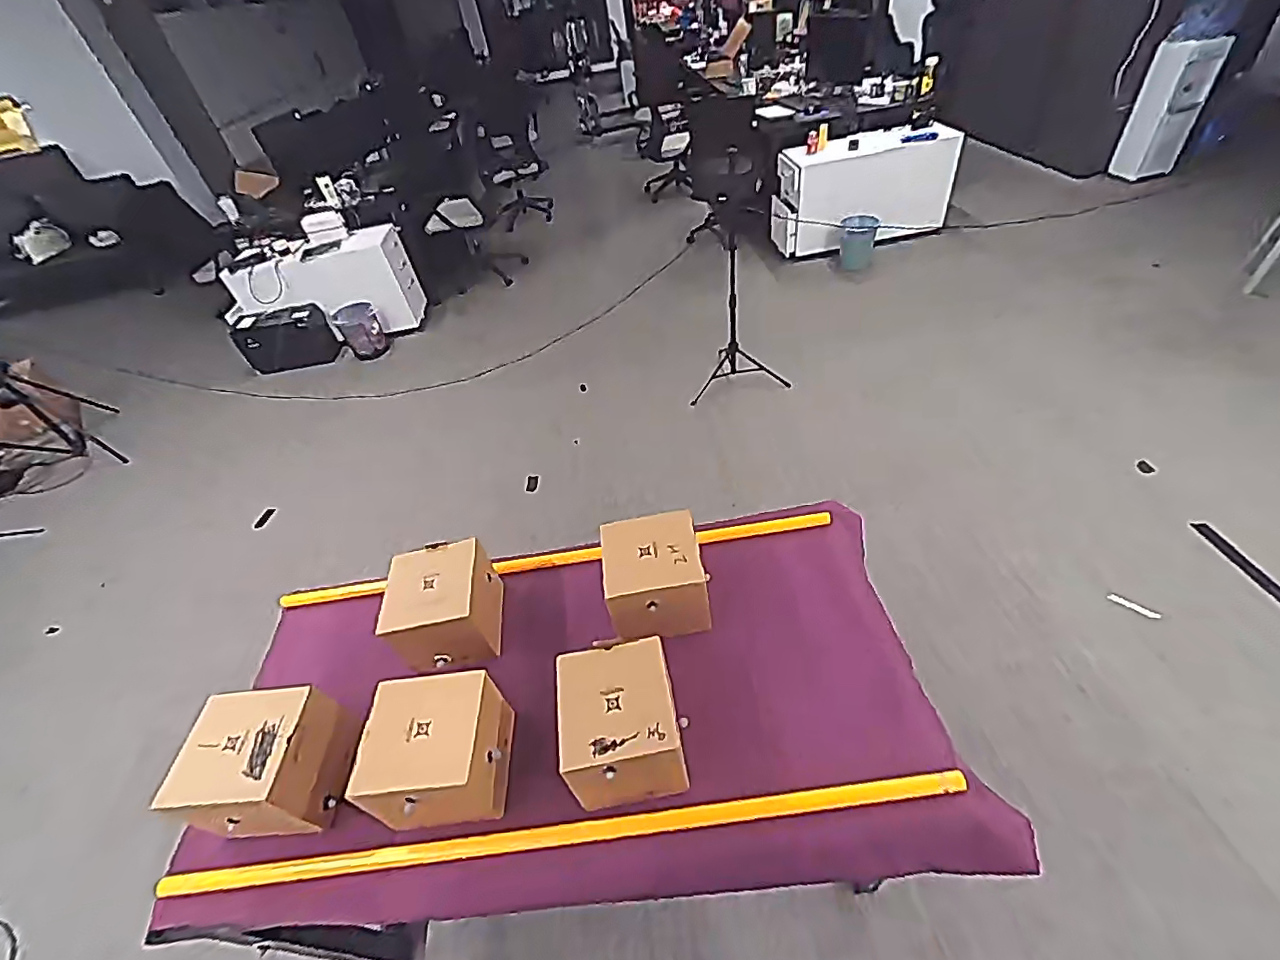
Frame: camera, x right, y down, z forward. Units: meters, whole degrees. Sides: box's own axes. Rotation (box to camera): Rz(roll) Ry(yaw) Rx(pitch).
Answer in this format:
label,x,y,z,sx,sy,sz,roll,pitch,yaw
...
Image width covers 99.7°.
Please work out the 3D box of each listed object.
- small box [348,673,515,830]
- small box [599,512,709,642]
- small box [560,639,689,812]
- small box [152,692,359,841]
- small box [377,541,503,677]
label,x,y,z,sx,sy,sz,roll,pitch,yaw
small box,-0.306,0.424,0.841,0.179,0.176,0.168,-9,43,3
small box,0.028,0.187,1.017,0.179,0.176,0.168,-10,45,1
small box,-0.024,0.377,0.832,0.168,0.176,0.179,-12,41,0
small box,-0.587,0.456,0.859,0.179,0.176,0.168,-7,44,4
small box,-0.369,0.247,1.035,0.168,0.176,0.179,-12,45,0
